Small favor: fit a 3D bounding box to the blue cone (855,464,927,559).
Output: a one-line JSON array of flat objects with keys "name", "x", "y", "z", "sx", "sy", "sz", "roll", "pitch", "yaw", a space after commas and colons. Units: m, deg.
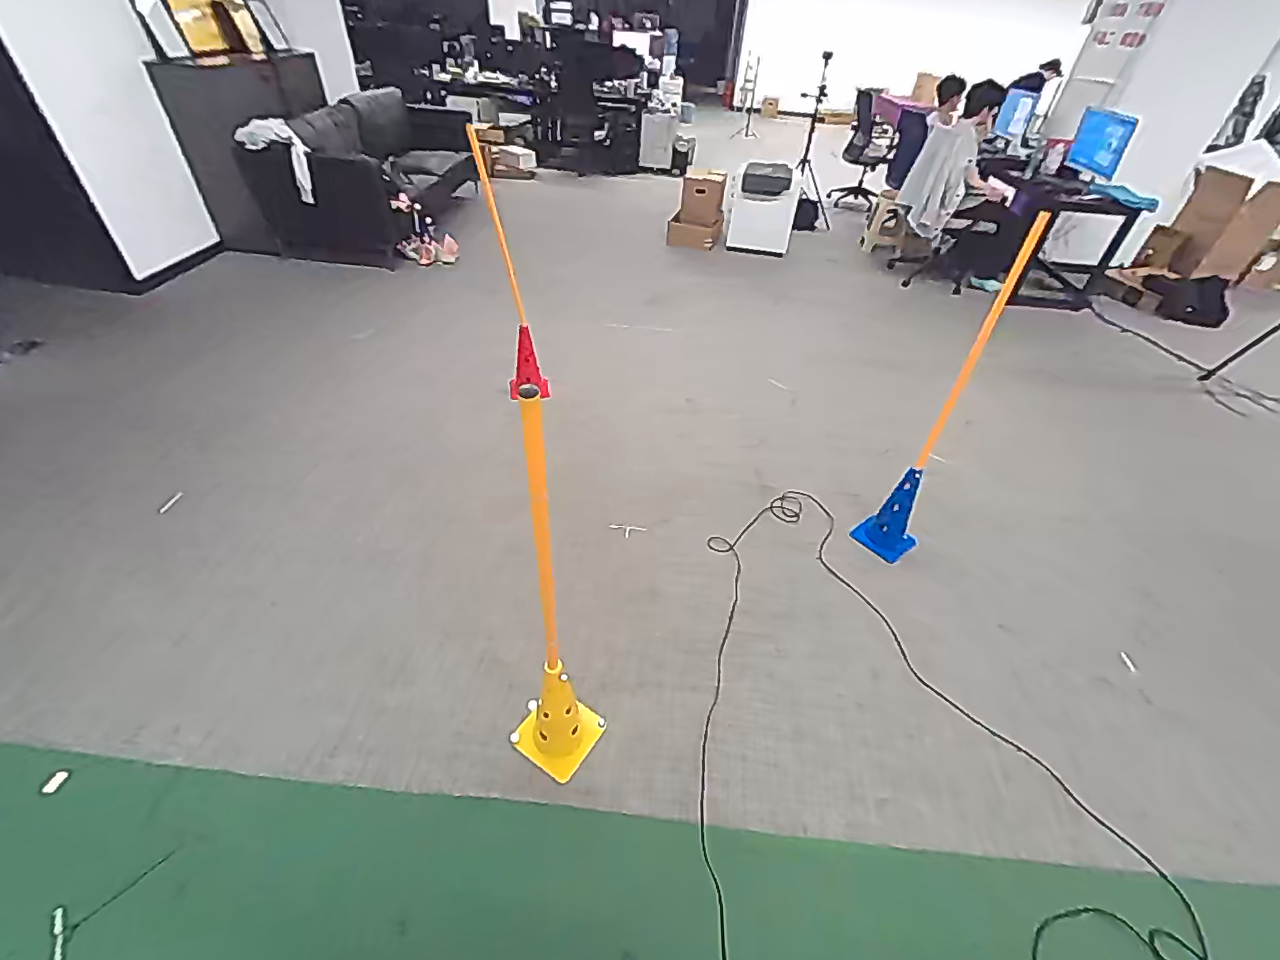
[{"name": "blue cone", "x": 0.980, "y": 0.093, "z": 2.041, "sx": 0.193, "sy": 0.380, "sz": 0.192, "roll": -26, "pitch": 49, "yaw": -34}]
